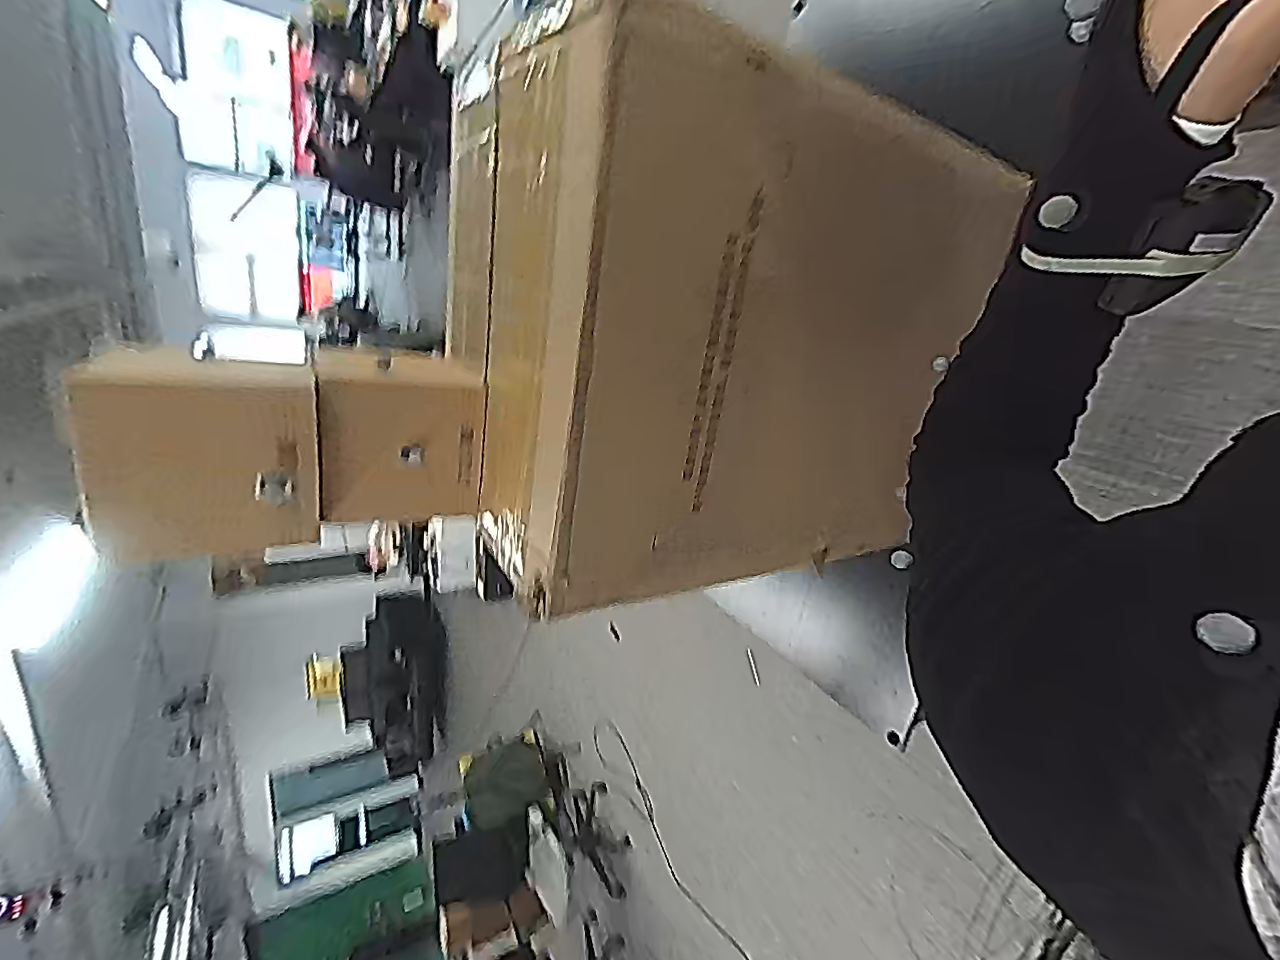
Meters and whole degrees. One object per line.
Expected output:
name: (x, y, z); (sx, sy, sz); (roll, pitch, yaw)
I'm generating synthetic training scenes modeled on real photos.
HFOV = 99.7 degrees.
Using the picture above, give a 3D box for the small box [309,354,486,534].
small box: (-0.293, -0.052, 0.654); (0.179, 0.176, 0.168); (34, 120, 51)

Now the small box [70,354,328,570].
small box: (-0.414, -0.028, 0.542); (0.179, 0.176, 0.168); (30, 119, 53)
